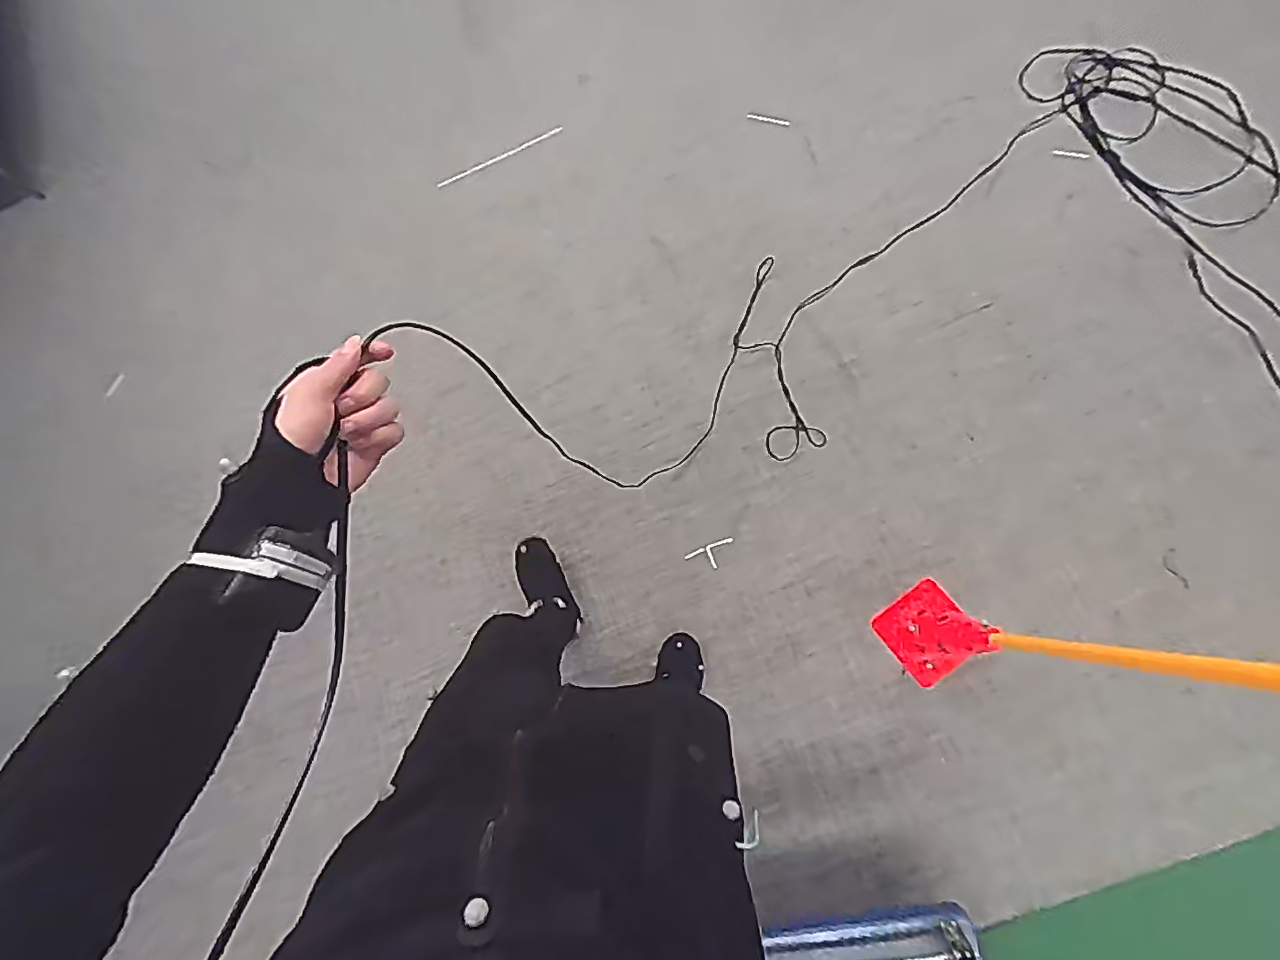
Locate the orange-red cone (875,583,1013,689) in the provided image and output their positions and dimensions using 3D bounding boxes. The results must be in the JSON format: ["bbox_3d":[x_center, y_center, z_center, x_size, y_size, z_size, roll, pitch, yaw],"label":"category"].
[{"bbox_3d":[0.684,0.337,1.155,0.199,0.360,0.198,-36,75,-3],"label":"orange-red cone"}]
